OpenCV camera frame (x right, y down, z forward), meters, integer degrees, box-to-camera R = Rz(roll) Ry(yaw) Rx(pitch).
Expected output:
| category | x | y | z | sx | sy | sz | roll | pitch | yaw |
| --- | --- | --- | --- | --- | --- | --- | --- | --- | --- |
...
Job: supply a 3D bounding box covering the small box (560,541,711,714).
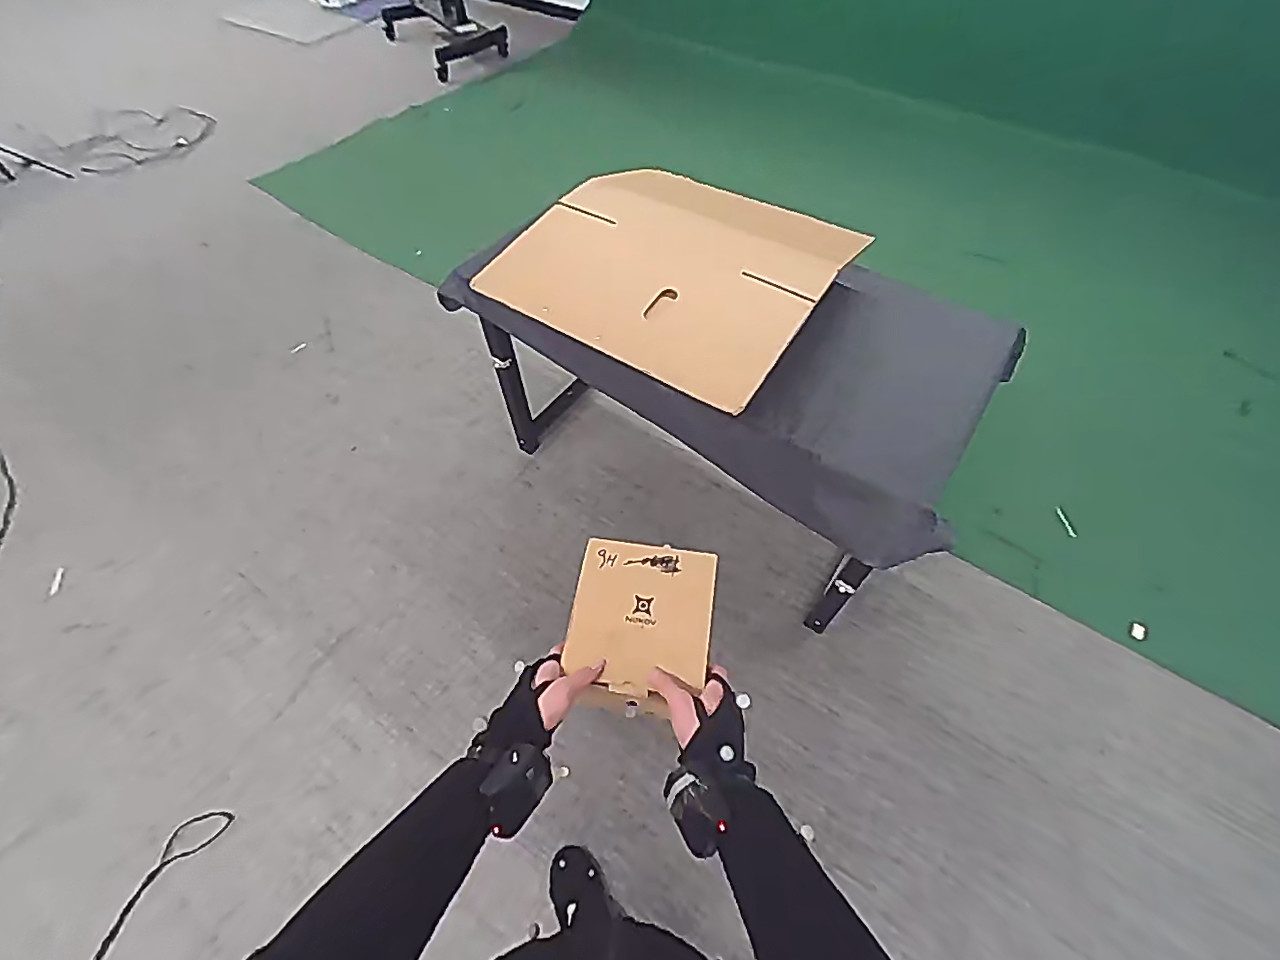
| category | x | y | z | sx | sy | sz | roll | pitch | yaw |
| --- | --- | --- | --- | --- | --- | --- | --- | --- | --- |
| small box | 0.003 | 0.199 | 0.713 | 0.168 | 0.176 | 0.179 | 4 | 59 | 6 |
